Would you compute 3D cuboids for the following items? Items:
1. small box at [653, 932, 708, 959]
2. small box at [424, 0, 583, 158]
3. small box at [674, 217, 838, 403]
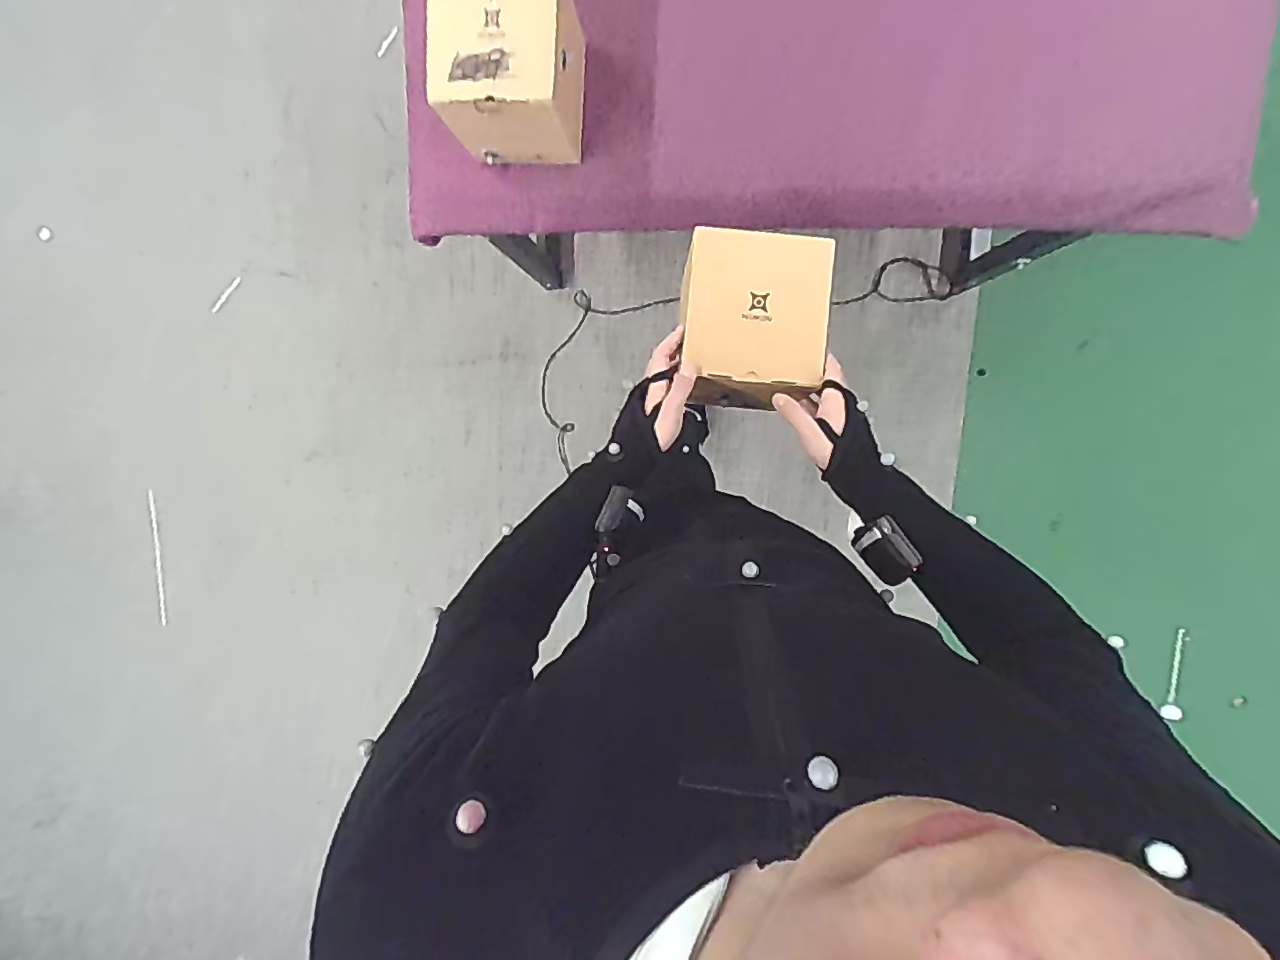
[{"bbox_3d":[0.121,1.567,1.678,0.168,0.176,0.179,7,99,4],"label":"small box"},{"bbox_3d":[-0.175,-0.564,0.734,0.168,0.176,0.179,4,97,4],"label":"small box"},{"bbox_3d":[0.137,-0.205,0.697,0.168,0.176,0.179,6,90,-1],"label":"small box"}]
